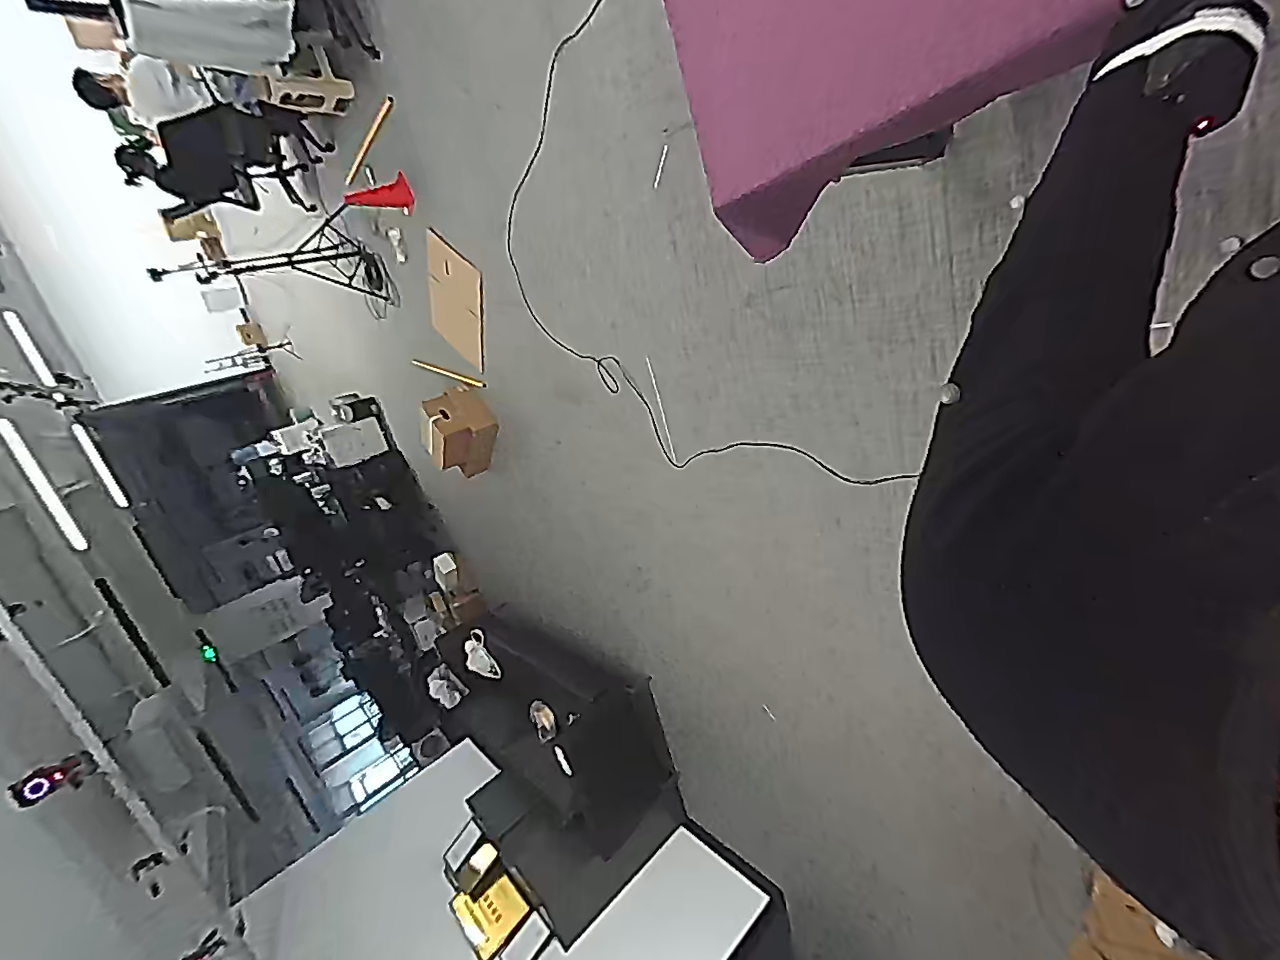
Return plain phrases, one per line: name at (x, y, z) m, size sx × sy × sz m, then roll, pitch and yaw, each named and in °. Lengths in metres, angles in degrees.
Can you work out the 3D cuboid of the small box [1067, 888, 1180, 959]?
small box at (1.121, 1.120, 1.259) m, size 0.168 × 0.176 × 0.179 m, roll 14°, pitch 126°, yaw 48°
